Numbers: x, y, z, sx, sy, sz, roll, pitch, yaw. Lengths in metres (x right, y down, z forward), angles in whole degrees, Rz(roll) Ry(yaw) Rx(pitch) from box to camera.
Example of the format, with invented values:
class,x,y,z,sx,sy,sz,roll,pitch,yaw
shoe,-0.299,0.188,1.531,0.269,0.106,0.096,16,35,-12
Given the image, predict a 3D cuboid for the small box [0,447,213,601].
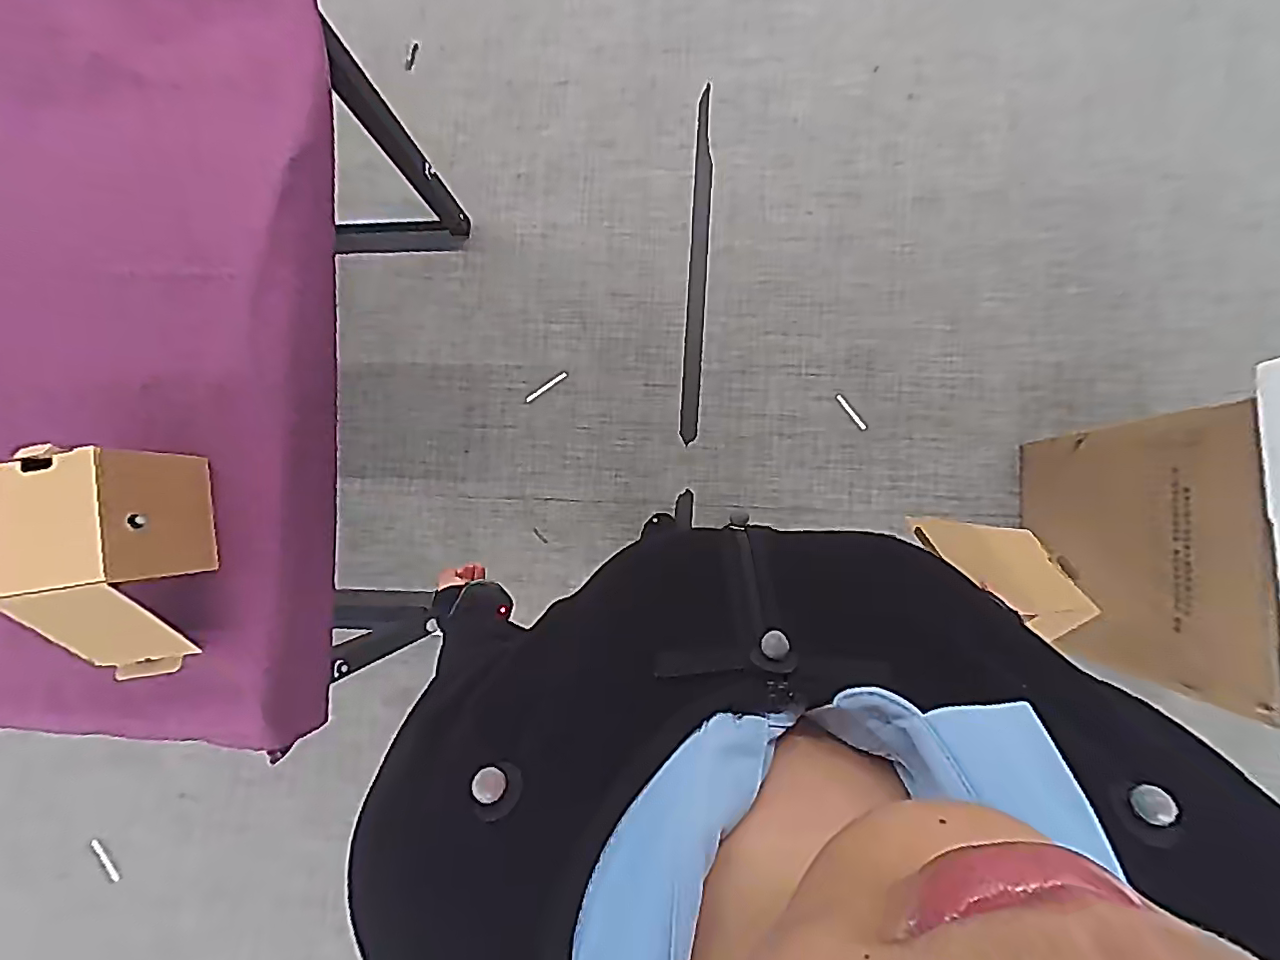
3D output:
class,x,y,z,sx,sy,sz,roll,pitch,yaw
small box,-0.738,0.058,0.750,0.168,0.176,0.179,-8,86,3
